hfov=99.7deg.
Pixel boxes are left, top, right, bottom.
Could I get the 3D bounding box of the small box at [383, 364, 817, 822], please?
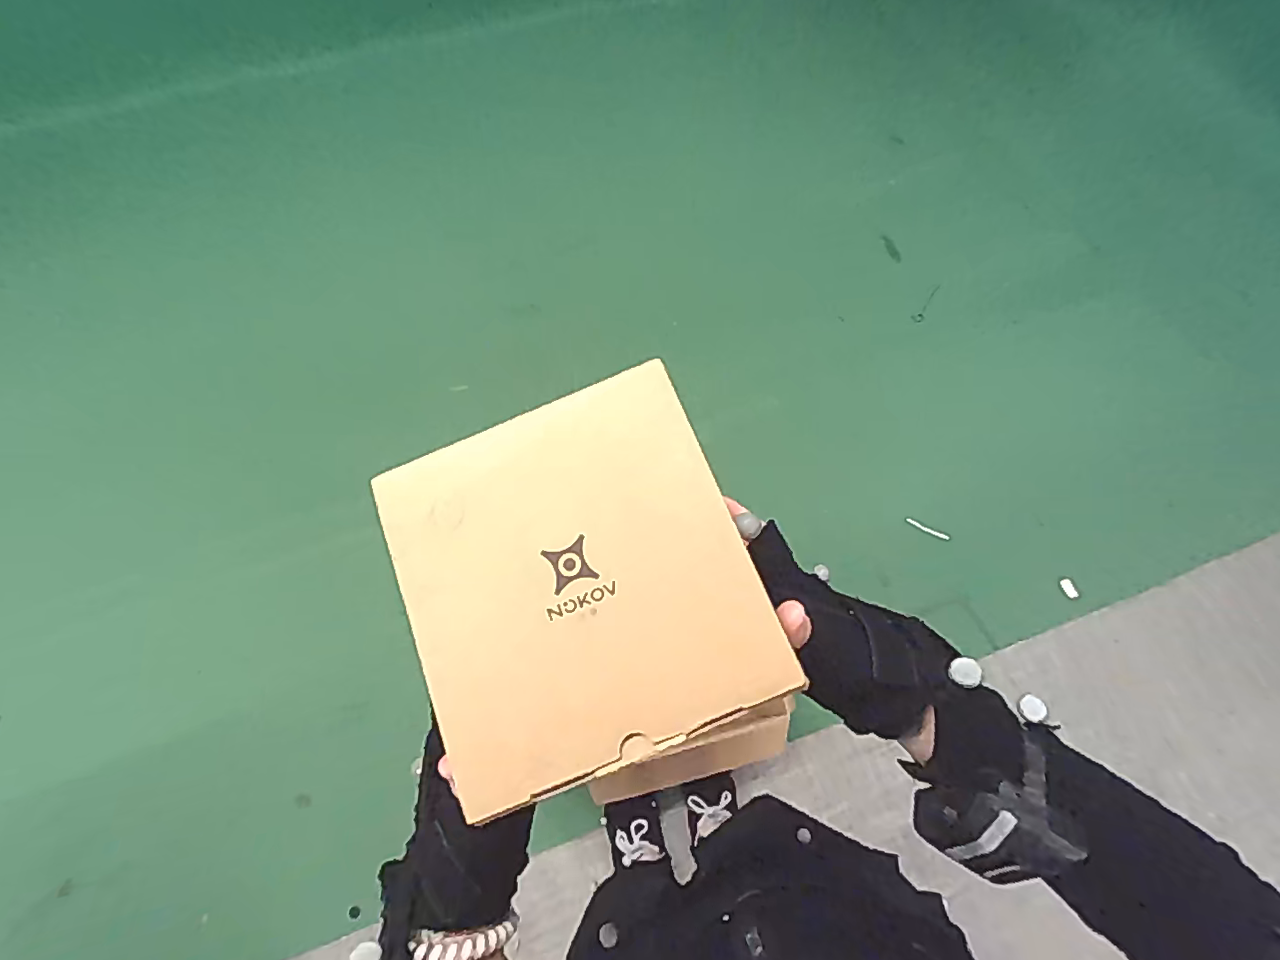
[{"bbox_3d":[-0.021,0.063,0.338,0.168,0.176,0.179,-23,77,-1],"label":"small box"}]
